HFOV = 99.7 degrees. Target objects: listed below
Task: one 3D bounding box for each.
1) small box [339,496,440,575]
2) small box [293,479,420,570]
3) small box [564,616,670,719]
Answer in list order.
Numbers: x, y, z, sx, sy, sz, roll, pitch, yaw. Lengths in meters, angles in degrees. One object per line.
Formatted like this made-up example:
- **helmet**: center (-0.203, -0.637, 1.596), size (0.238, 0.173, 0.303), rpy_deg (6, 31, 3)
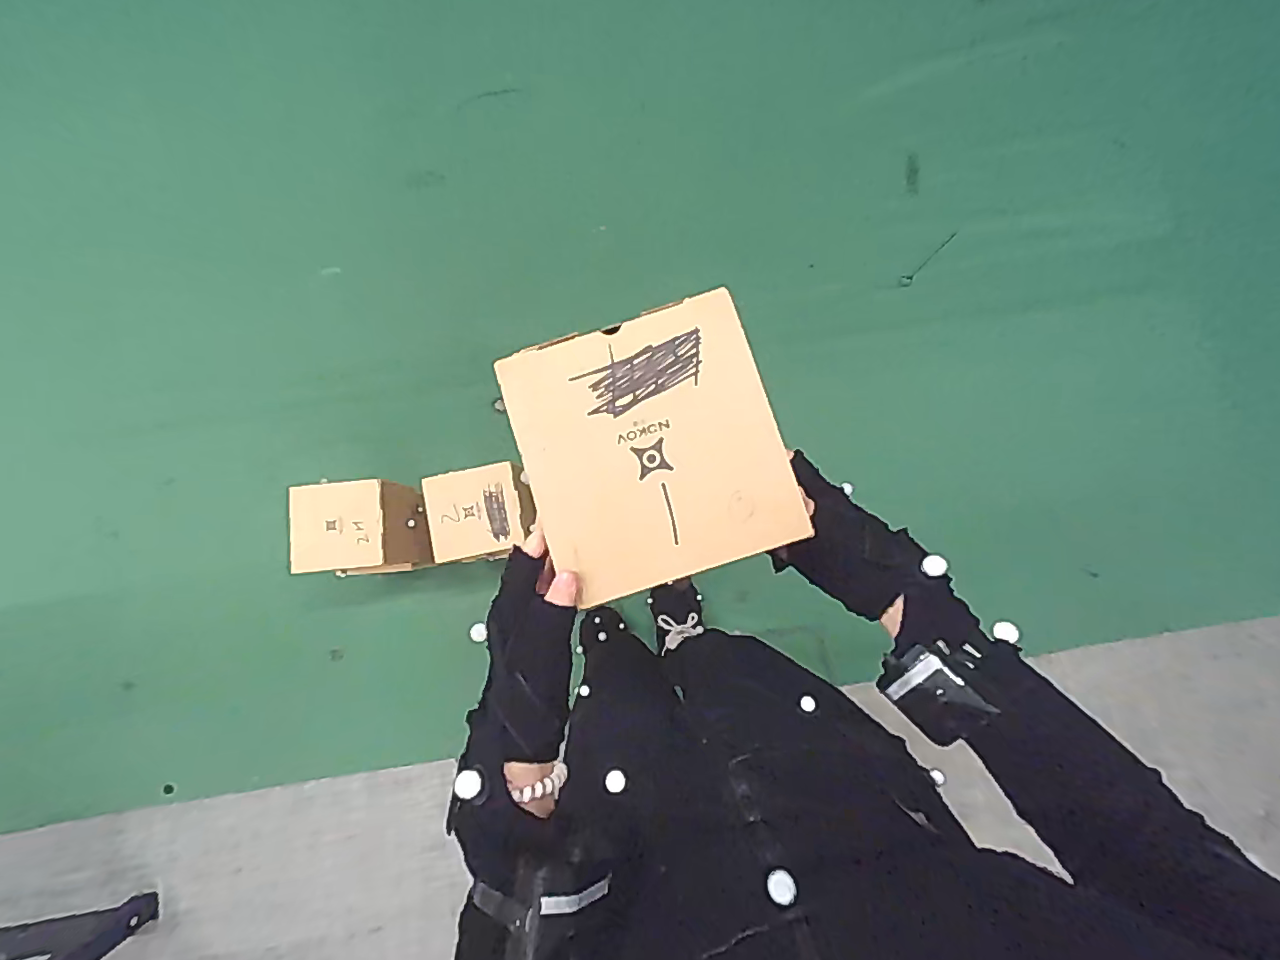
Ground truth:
- **small box**: center (-0.578, 0.126, 1.265), size (0.168, 0.176, 0.179), rpy_deg (-4, 83, -1)
- **small box**: center (-0.570, 0.095, 1.102), size (0.179, 0.176, 0.168), rpy_deg (-5, 83, -1)
- **small box**: center (-0.055, 0.417, 1.231), size (0.179, 0.176, 0.168), rpy_deg (13, 87, 25)
